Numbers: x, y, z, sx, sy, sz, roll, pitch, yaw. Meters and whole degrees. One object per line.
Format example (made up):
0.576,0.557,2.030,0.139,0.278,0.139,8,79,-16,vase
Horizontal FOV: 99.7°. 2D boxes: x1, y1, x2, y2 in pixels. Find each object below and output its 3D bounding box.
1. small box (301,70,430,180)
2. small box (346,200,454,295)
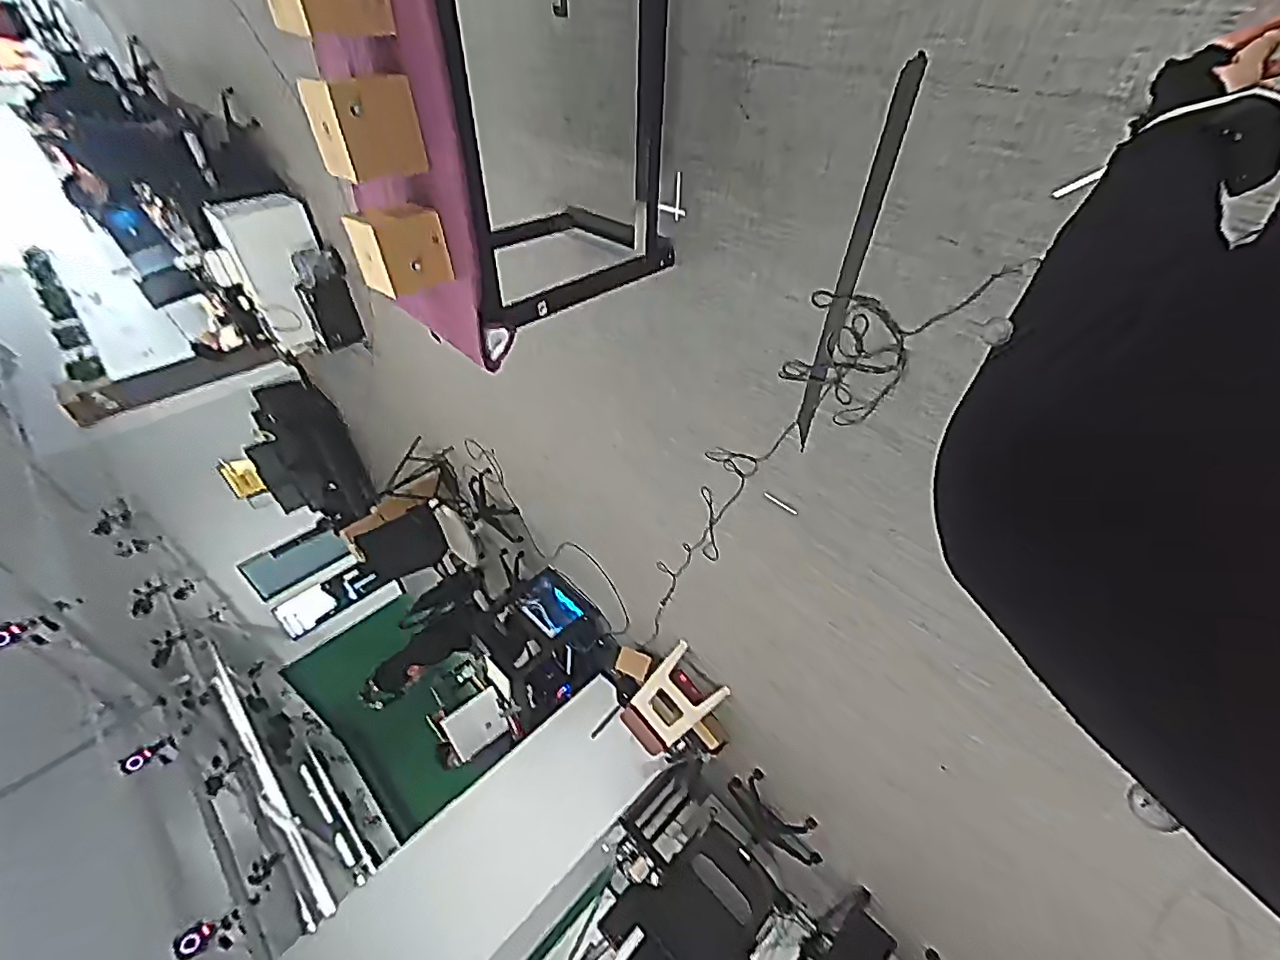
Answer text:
-0.580,-0.766,1.160,0.168,0.176,0.179,34,141,34,small box
-0.582,-0.580,1.336,0.179,0.176,0.168,31,140,36,small box
